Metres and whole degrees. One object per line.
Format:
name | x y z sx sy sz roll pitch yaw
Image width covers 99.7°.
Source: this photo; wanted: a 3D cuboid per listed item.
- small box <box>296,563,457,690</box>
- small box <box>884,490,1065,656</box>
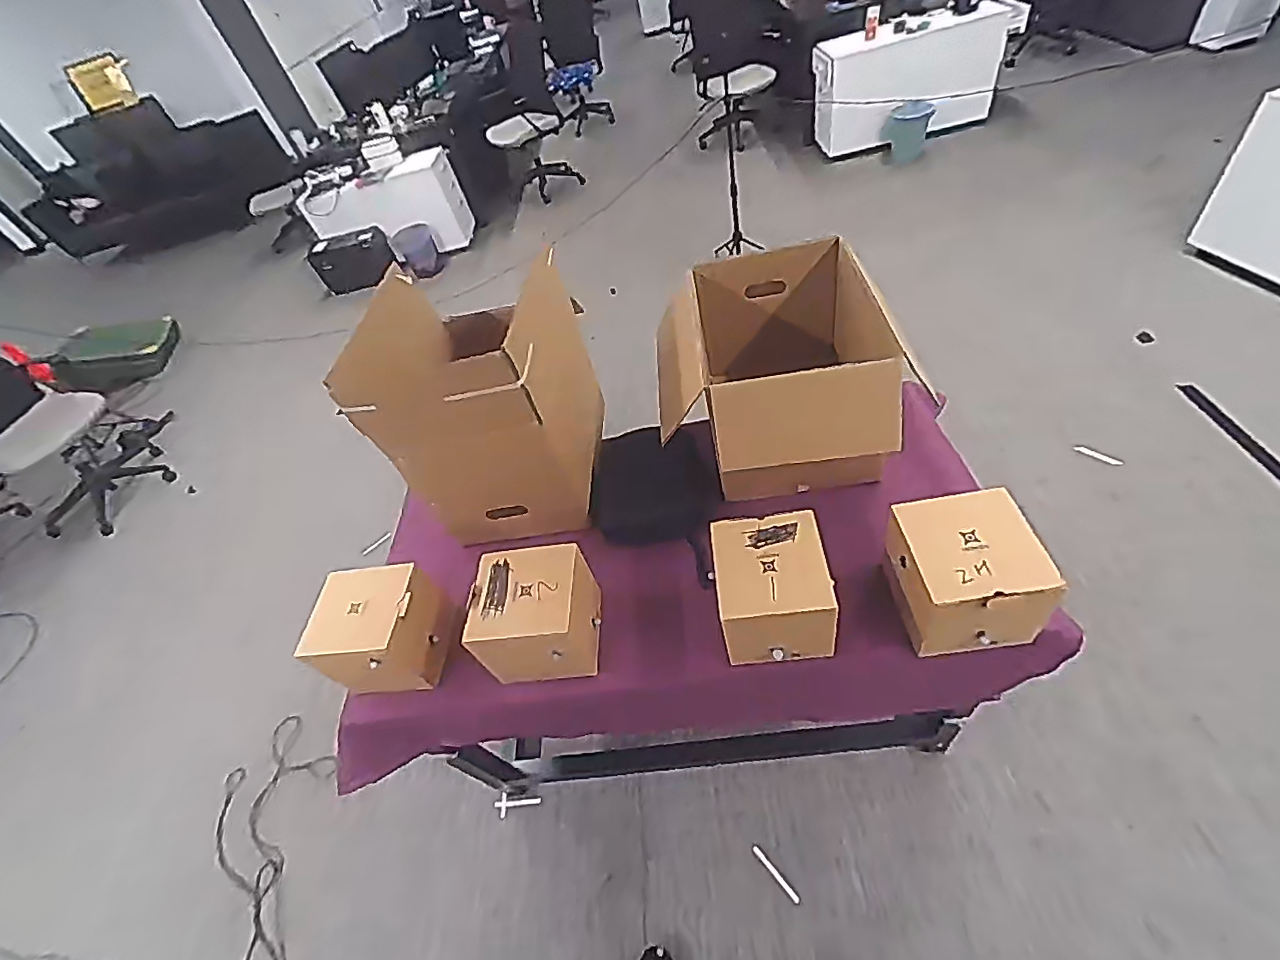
small box | -0.467 0.272 0.988 0.179 0.176 0.168 -7 48 9
small box | 0.483 0.143 0.817 0.168 0.176 0.179 -10 47 9
